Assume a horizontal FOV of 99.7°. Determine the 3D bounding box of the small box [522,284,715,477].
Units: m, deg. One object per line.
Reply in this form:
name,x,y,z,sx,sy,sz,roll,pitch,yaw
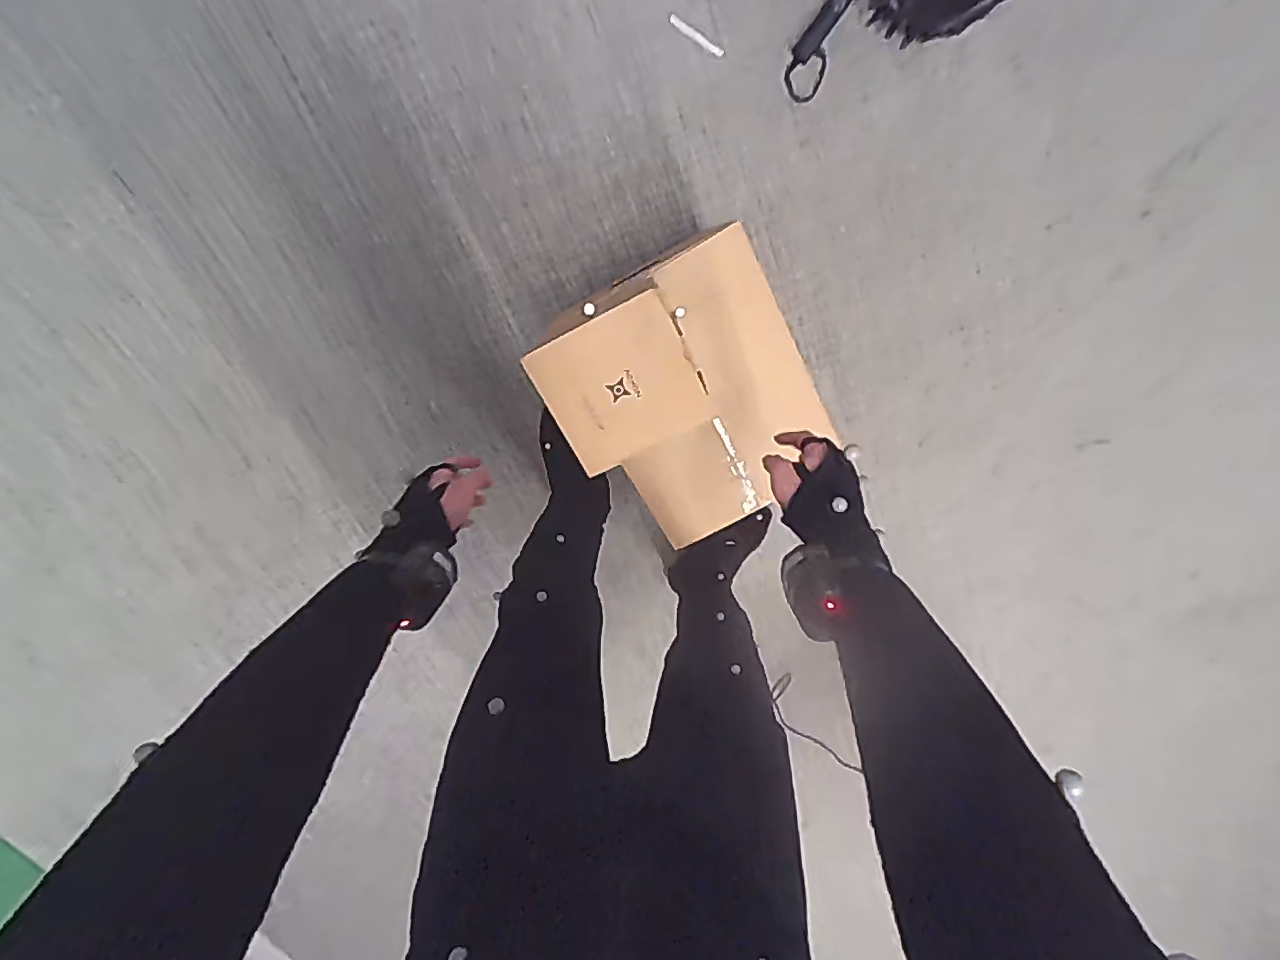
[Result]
small box,-0.023,-0.136,0.694,0.179,0.176,0.168,-25,110,11
